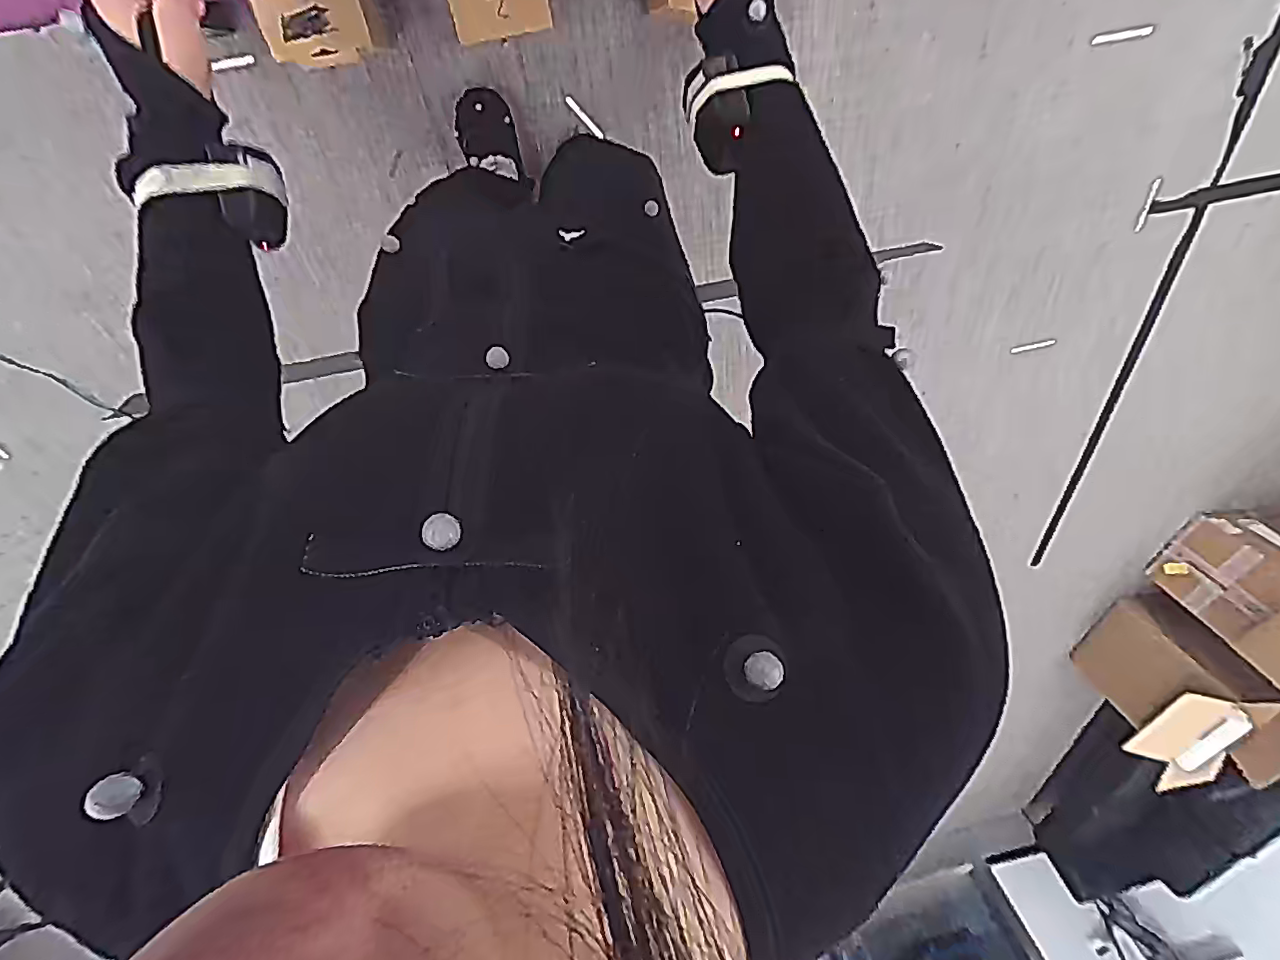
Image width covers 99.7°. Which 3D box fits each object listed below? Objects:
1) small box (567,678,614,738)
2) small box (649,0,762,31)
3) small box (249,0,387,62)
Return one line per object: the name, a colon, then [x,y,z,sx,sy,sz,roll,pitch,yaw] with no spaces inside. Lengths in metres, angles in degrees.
small box: [-0.221,1.013,2.407,0.168,0.176,0.179,-14,130,-3]
small box: [0.127,-0.945,0.990,0.179,0.176,0.168,1,127,-14]
small box: [-0.550,-0.824,0.911,0.168,0.176,0.179,-12,127,-5]
